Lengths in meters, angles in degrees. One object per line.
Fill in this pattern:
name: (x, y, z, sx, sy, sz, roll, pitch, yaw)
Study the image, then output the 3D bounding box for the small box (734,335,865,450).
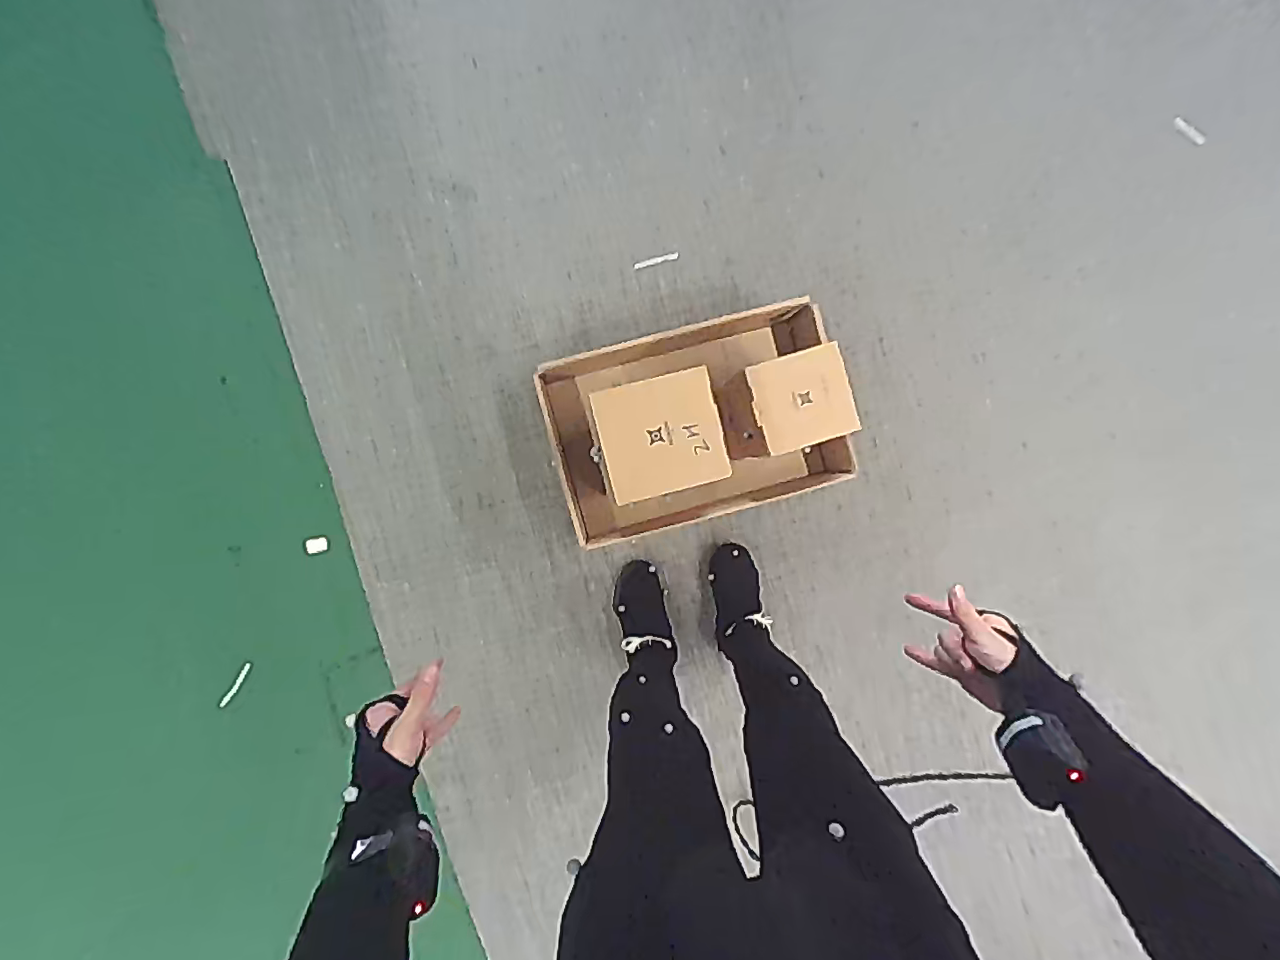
small box: (0.287, -0.155, 1.018, 0.179, 0.176, 0.168, -17, 94, -3)

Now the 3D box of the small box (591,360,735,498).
small box: (0.029, -0.072, 0.838, 0.179, 0.176, 0.168, -14, 92, -3)
